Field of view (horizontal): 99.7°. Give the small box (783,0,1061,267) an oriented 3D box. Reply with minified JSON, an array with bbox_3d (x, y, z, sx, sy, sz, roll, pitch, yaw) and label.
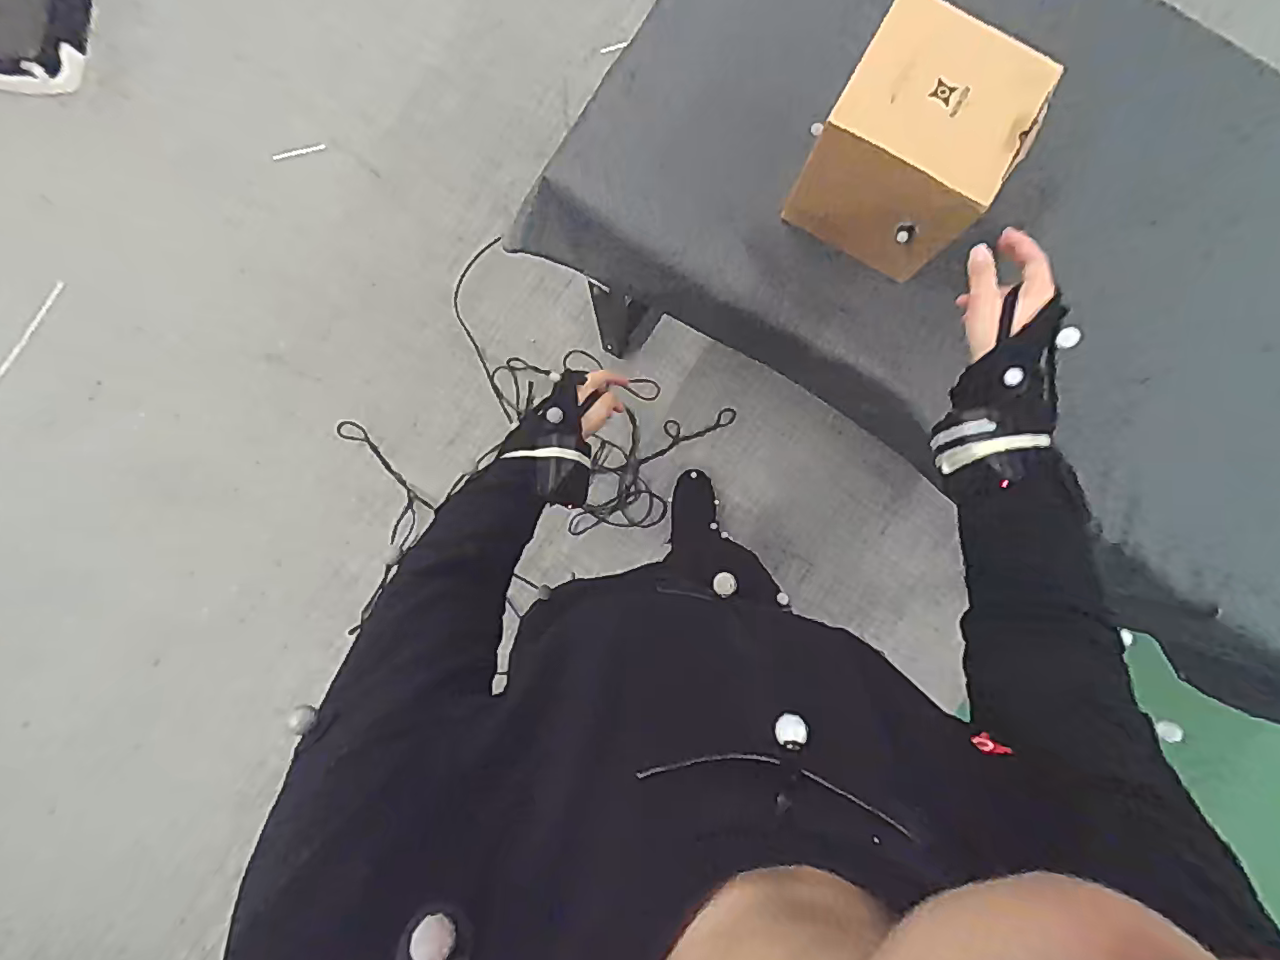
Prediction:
[{"bbox_3d":[0.286,-0.363,0.590,0.179,0.176,0.168,29,86,2],"label":"small box"}]
